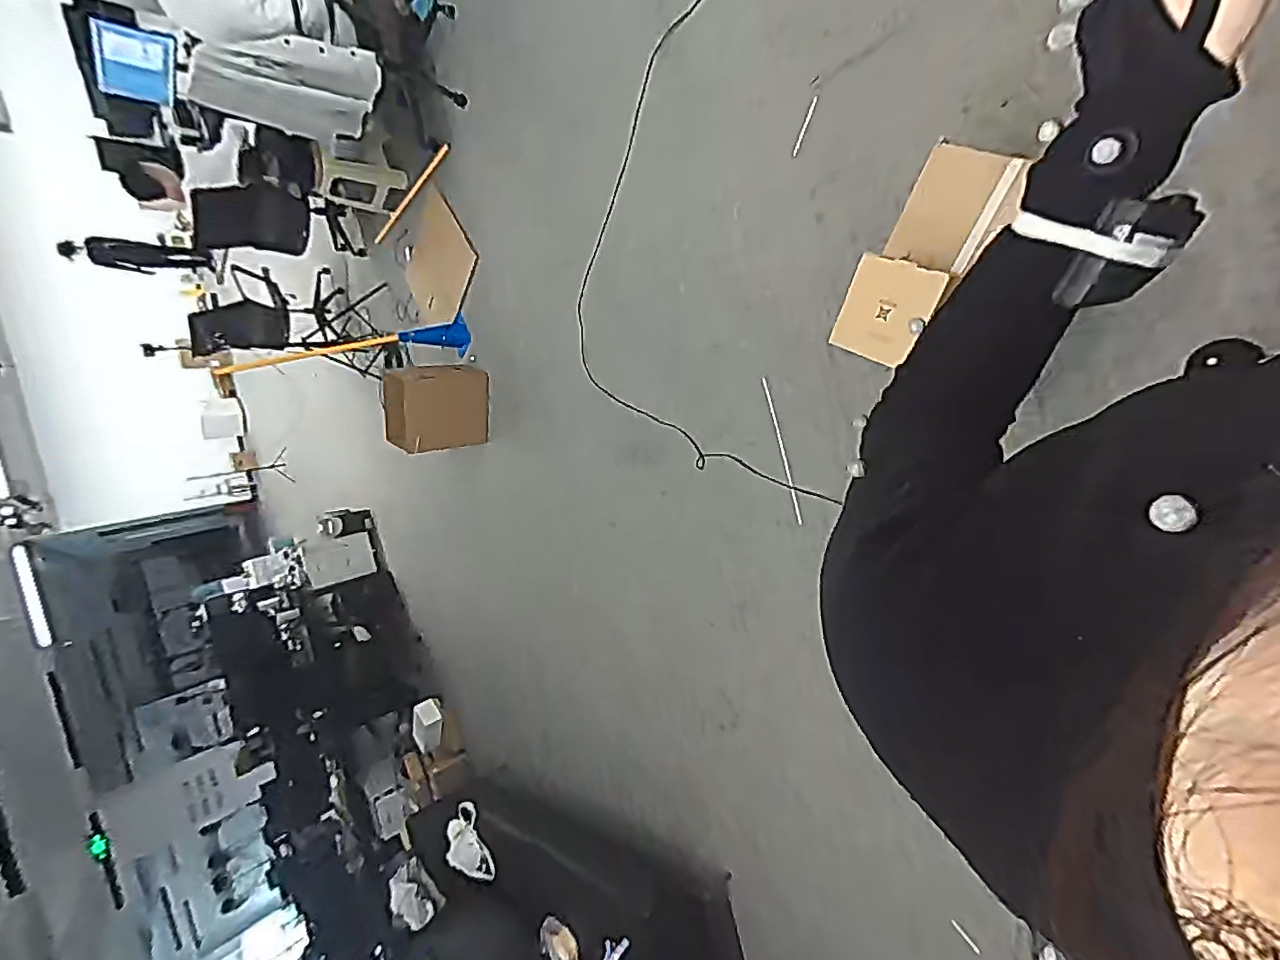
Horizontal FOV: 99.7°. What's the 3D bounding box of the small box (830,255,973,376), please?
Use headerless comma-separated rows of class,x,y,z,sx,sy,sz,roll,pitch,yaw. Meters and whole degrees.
small box,0.508,-0.316,1.042,0.168,0.176,0.179,38,127,36

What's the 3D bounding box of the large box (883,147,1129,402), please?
large box,0.720,-0.419,1.153,0.320,0.320,0.408,40,126,31
